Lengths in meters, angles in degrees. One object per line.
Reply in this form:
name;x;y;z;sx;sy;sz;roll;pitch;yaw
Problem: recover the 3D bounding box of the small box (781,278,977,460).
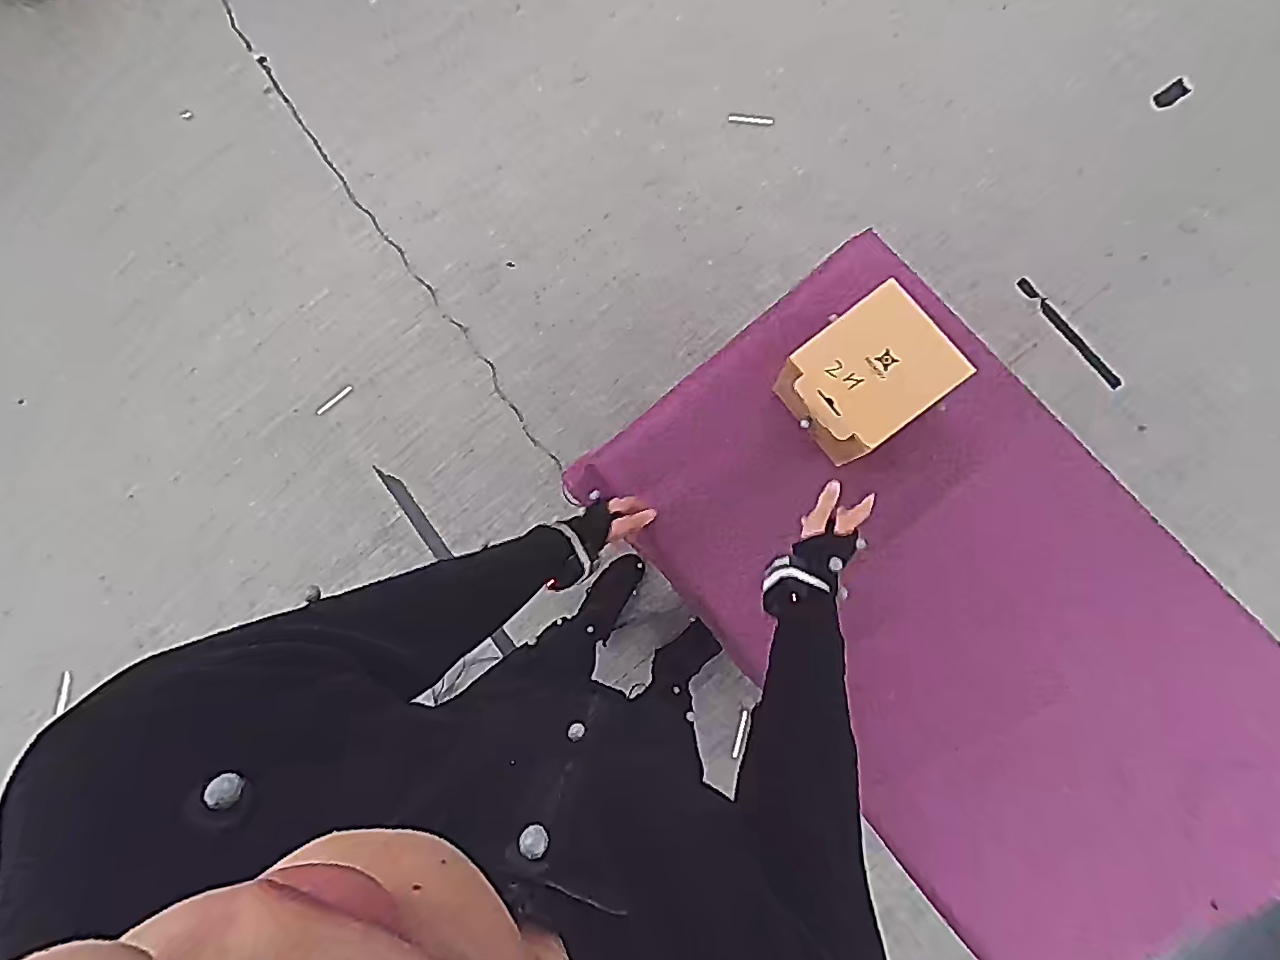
small box;0.330;-0.149;0.788;0.179;0.176;0.168;-37;82;2
